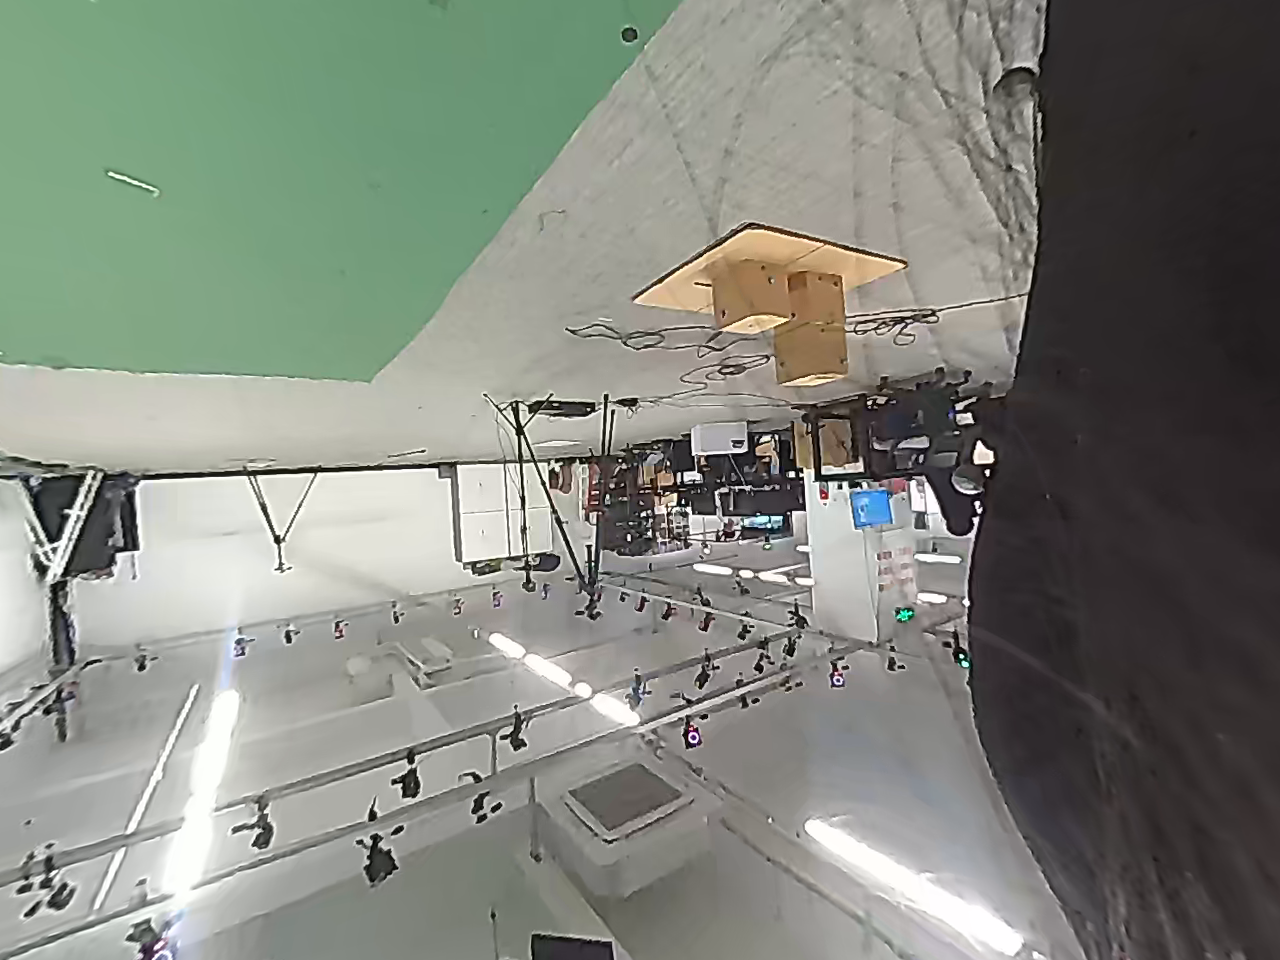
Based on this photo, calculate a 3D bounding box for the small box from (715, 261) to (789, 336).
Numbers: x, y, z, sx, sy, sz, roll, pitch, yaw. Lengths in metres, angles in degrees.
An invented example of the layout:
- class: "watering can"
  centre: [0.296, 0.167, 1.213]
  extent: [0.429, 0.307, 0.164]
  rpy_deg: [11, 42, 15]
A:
- class: "small box"
  centre: [0.351, -0.570, 1.715]
  extent: [0.168, 0.176, 0.179]
  rpy_deg: [-5, 179, -32]

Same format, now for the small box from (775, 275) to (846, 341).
- class: "small box"
  centre: [0.570, -0.581, 1.837]
  extent: [0.168, 0.176, 0.179]
  rpy_deg: [-4, 180, -27]
